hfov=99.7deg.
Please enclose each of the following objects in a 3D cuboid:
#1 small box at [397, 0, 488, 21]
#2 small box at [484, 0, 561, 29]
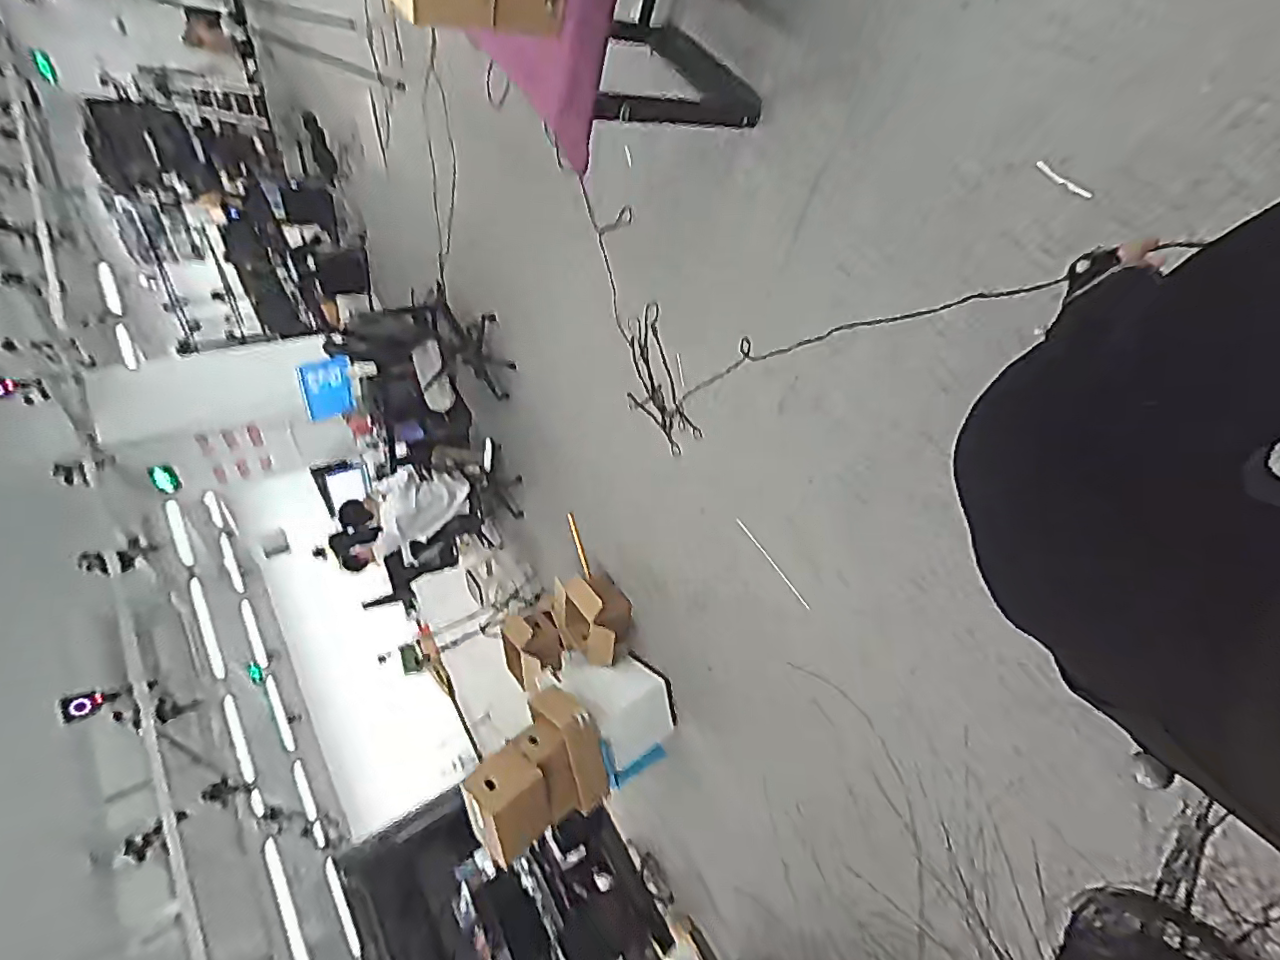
[{"bbox_3d":[-0.396,-1.025,1.045,0.179,0.176,0.168,54,146,20],"label":"small box"},{"bbox_3d":[-0.273,-1.084,1.136,0.179,0.176,0.168,53,146,22],"label":"small box"}]
